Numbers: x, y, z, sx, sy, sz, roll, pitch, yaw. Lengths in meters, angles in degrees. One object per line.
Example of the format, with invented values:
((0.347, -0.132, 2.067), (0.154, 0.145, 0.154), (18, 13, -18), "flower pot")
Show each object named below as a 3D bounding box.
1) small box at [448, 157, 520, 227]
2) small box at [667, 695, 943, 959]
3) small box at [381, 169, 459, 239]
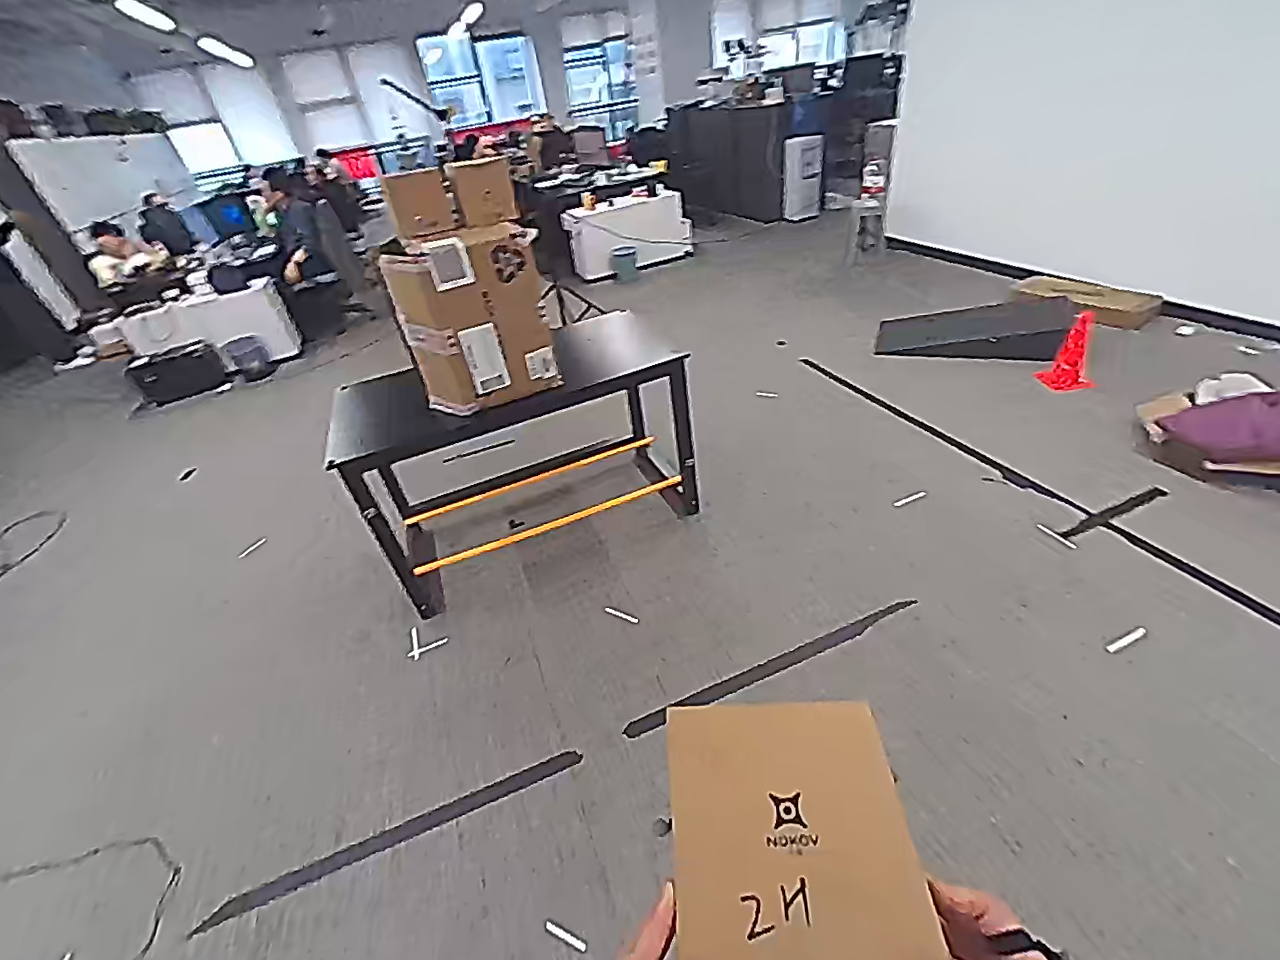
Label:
((-0.493, -0.912, 1.713), (0.168, 0.176, 0.179), (-19, 37, -17), "small box")
((0.107, 0.300, 0.442), (0.168, 0.176, 0.179), (-4, 43, 3), "small box")
((-0.678, -0.852, 1.669), (0.168, 0.176, 0.179), (-23, 37, -19), "small box")
